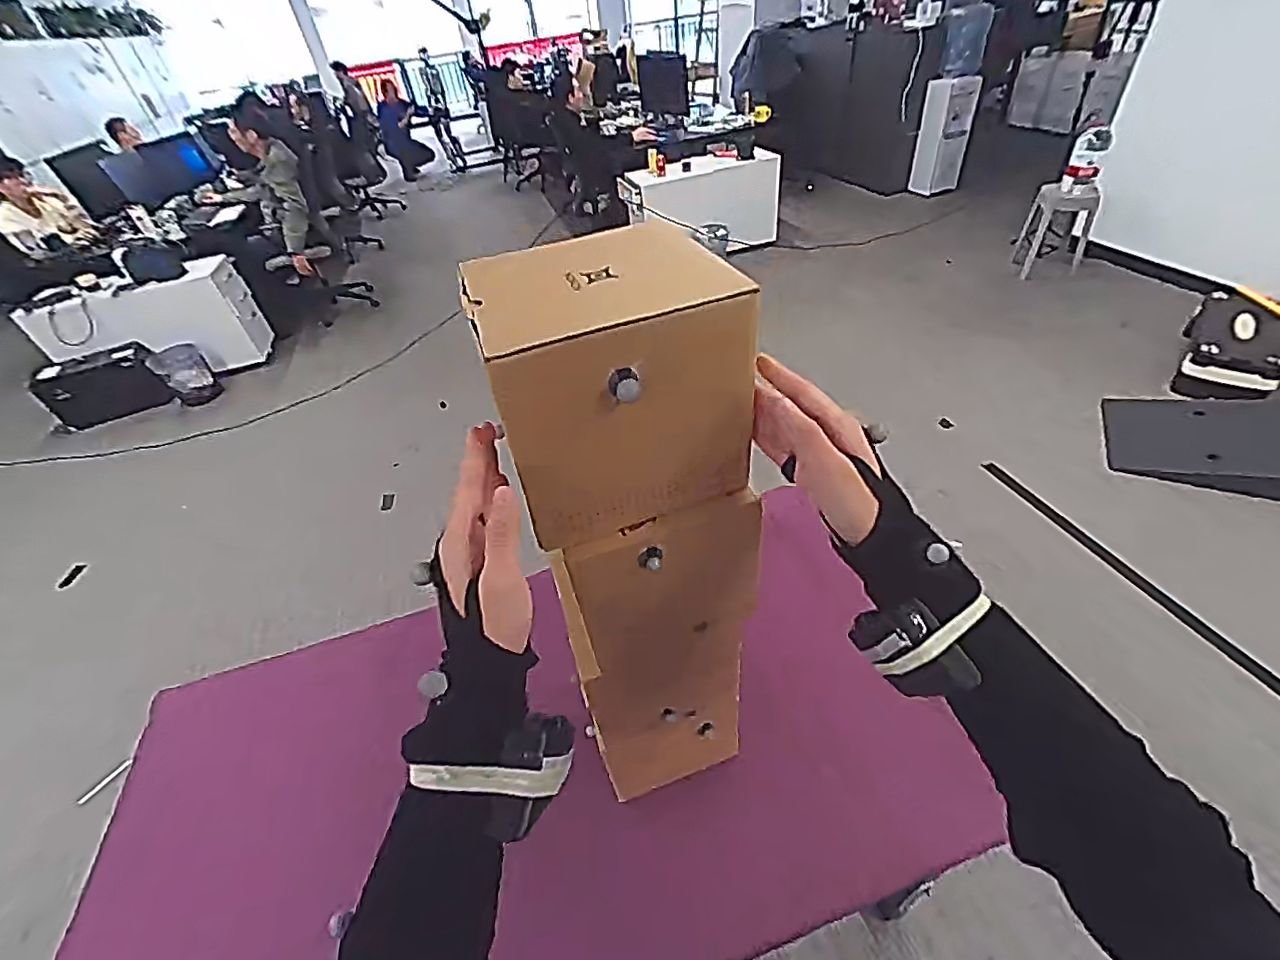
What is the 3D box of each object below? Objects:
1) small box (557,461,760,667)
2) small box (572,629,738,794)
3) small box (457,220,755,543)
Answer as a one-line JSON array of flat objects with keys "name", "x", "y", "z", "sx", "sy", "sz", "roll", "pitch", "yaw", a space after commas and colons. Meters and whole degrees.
[{"name": "small box", "x": 0.002, "y": 0.046, "z": 0.530, "sx": 0.168, "sy": 0.176, "sz": 0.179, "roll": -17, "pitch": 42, "yaw": -10}, {"name": "small box", "x": 0.021, "y": 0.294, "z": 0.743, "sx": 0.179, "sy": 0.176, "sz": 0.168, "roll": -18, "pitch": 42, "yaw": -9}, {"name": "small box", "x": -0.027, "y": -0.080, "z": 0.429, "sx": 0.179, "sy": 0.176, "sz": 0.168, "roll": -18, "pitch": 43, "yaw": -10}]
